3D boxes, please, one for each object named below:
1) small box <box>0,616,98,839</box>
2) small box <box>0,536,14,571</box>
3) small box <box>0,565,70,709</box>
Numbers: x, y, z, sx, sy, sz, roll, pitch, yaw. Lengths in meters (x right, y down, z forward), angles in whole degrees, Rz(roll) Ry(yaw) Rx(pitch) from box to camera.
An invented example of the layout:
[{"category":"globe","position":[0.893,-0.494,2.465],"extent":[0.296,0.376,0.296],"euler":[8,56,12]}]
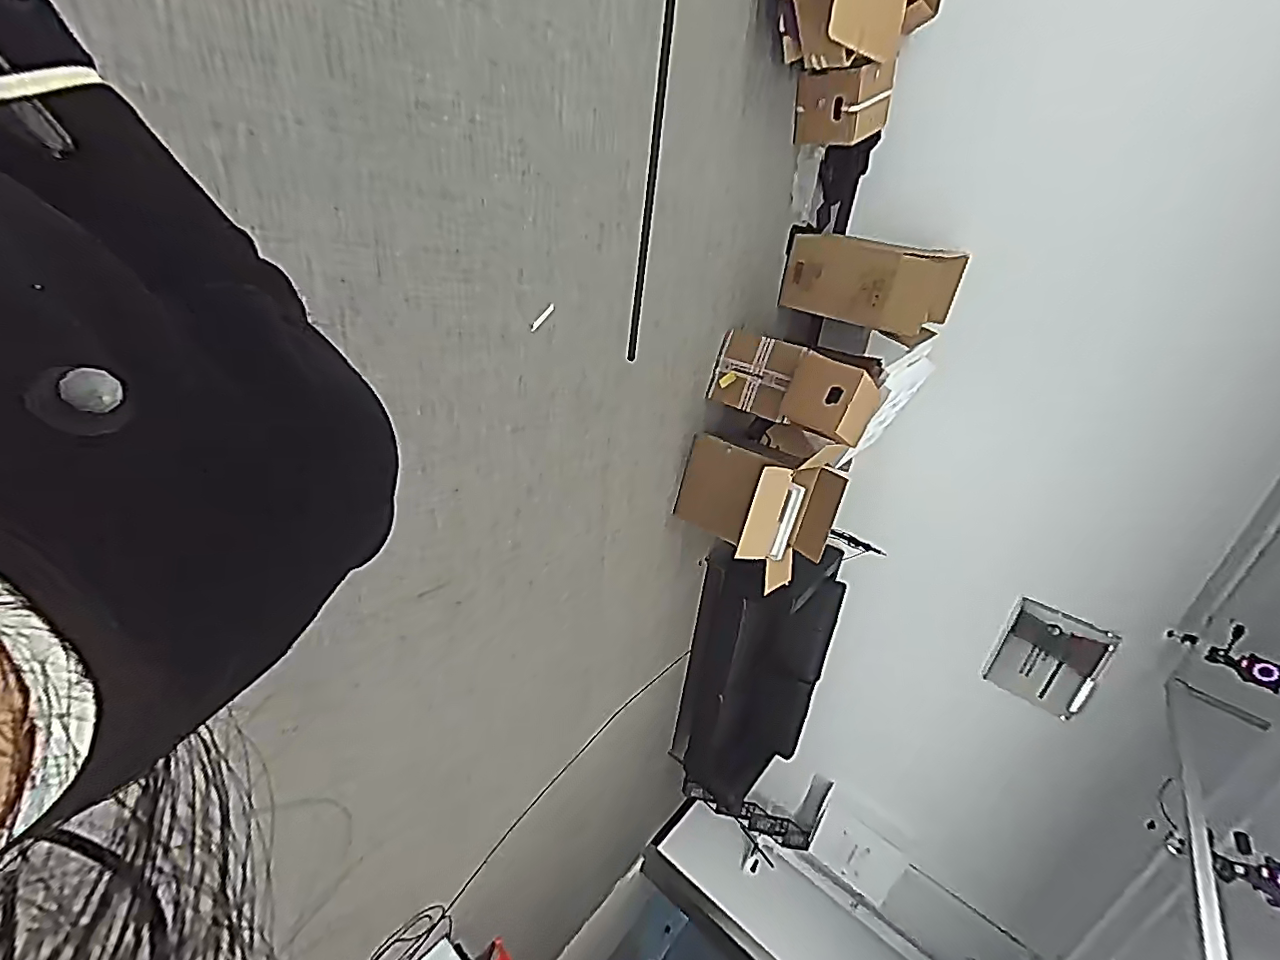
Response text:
[{"category":"small box","position":[-0.739,0.281,0.581],"extent":[0.168,0.176,0.179],"euler":[-26,130,-47]},{"category":"small box","position":[-0.991,0.163,0.751],"extent":[0.168,0.176,0.179],"euler":[-22,127,-48]},{"category":"small box","position":[-0.863,0.222,0.668],"extent":[0.168,0.176,0.179],"euler":[-23,130,-48]}]
